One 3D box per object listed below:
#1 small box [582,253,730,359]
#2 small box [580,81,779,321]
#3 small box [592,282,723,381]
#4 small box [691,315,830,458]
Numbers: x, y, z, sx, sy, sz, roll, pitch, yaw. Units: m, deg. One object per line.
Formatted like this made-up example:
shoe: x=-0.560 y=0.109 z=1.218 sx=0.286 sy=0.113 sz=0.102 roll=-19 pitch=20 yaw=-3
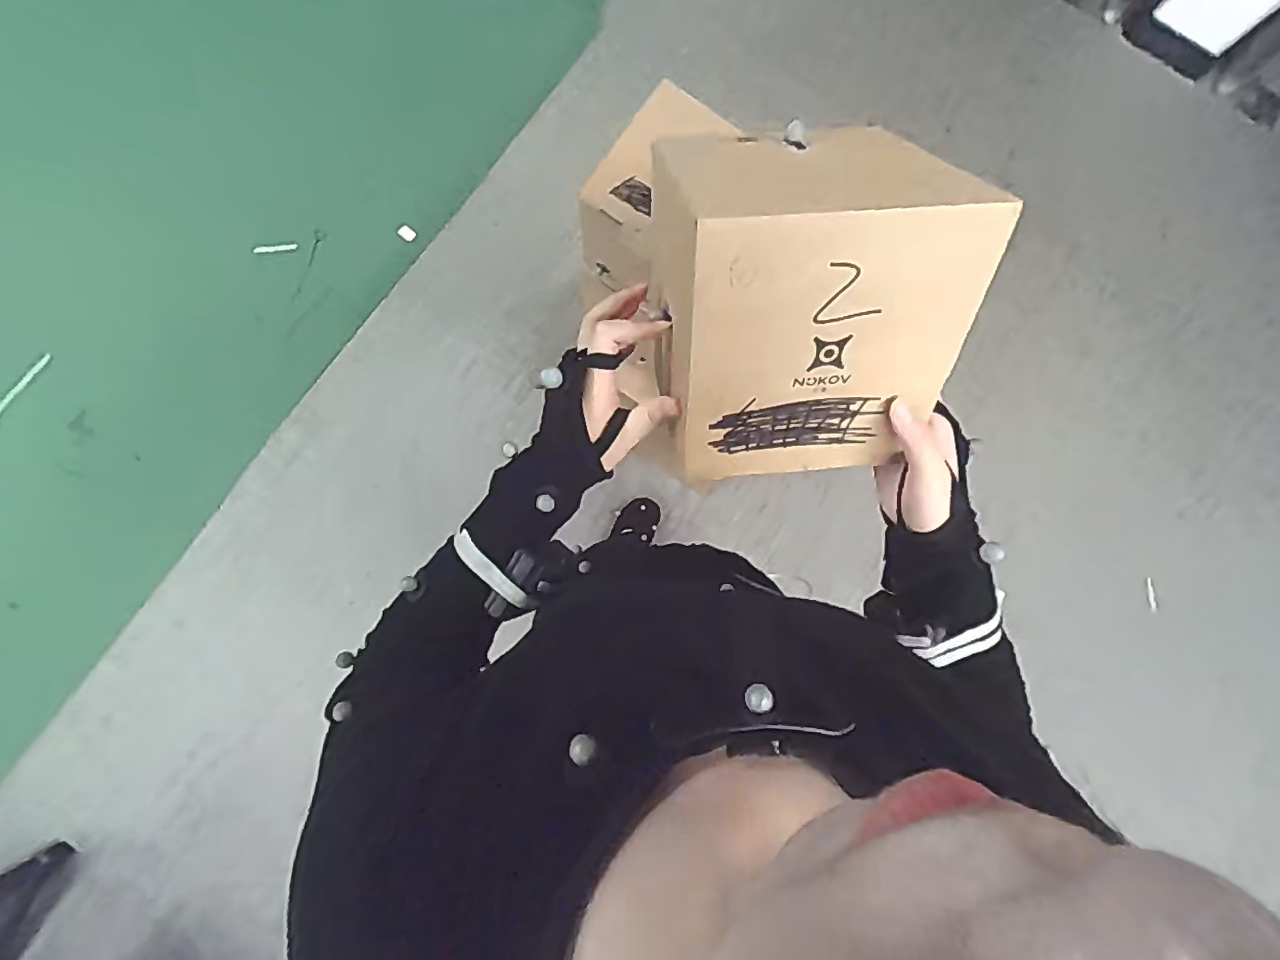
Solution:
small box: x=0.028 y=-0.318 z=0.854 sx=0.168 sy=0.176 sz=0.179 roll=35 pitch=86 yaw=0
small box: x=0.043 y=-0.336 z=0.691 sx=0.168 sy=0.176 sz=0.179 roll=35 pitch=84 yaw=0
small box: x=0.030 y=-0.313 z=1.018 sx=0.168 sy=0.176 sz=0.179 roll=37 pitch=85 yaw=0
small box: x=0.211 y=-0.164 z=1.006 sx=0.168 sy=0.176 sz=0.179 roll=41 pitch=85 yaw=4
